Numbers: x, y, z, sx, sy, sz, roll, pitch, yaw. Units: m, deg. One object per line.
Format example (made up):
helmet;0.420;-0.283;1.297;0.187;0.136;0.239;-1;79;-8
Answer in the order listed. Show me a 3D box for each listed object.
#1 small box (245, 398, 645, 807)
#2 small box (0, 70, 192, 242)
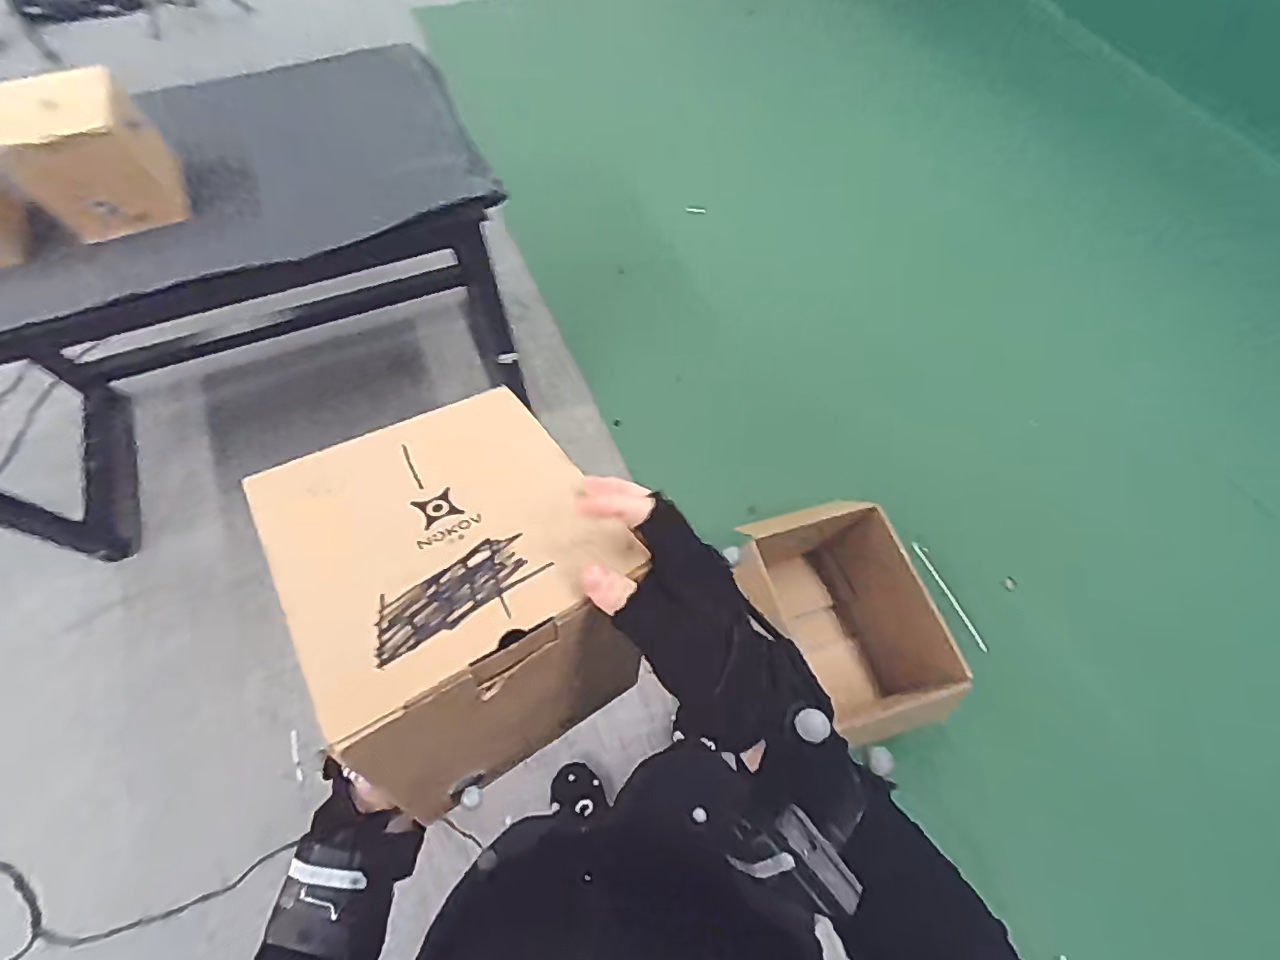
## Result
small box;-0.115;0.082;0.357;0.168;0.176;0.179;-26;55;-26
small box;-0.901;-0.539;0.908;0.168;0.176;0.179;-22;67;-13
